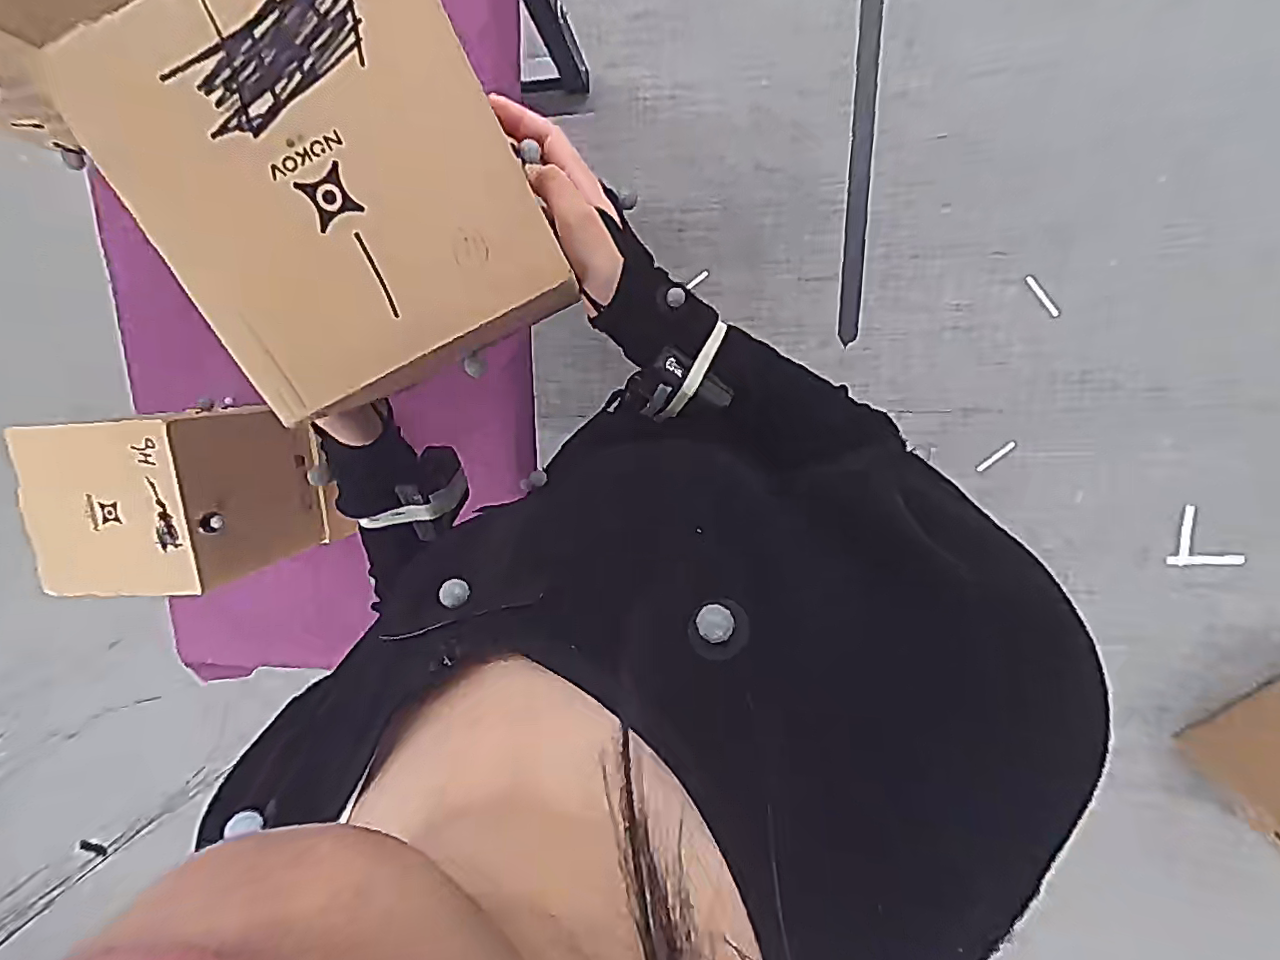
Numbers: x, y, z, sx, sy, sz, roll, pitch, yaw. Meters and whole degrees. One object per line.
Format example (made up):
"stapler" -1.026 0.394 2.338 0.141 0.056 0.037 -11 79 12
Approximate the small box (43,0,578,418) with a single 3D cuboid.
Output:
"small box" -0.148 -0.157 0.321 0.168 0.176 0.179 -27 106 3

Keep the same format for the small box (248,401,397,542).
"small box" -0.451 -0.019 0.733 0.179 0.176 0.168 0 101 8

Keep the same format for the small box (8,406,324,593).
"small box" -0.480 0.010 0.574 0.179 0.176 0.168 -2 101 9
